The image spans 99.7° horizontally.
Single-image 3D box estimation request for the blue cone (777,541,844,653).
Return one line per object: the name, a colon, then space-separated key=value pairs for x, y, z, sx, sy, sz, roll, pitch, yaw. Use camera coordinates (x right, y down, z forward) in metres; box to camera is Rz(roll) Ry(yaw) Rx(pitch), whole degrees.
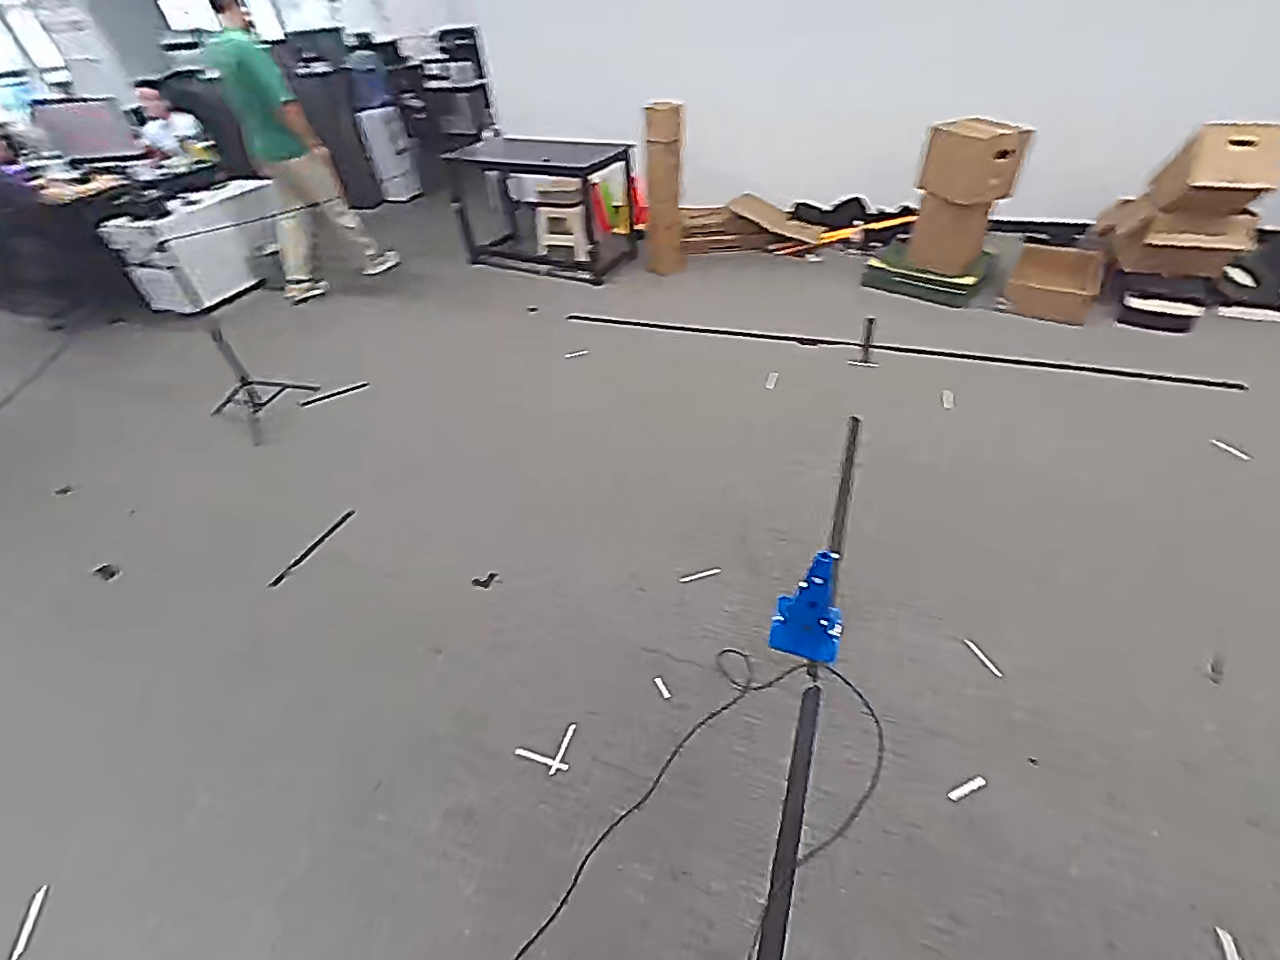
blue cone: x=0.509 y=0.316 z=1.545 sx=0.193 sy=0.380 sz=0.192 roll=10 pitch=45 yaw=17
